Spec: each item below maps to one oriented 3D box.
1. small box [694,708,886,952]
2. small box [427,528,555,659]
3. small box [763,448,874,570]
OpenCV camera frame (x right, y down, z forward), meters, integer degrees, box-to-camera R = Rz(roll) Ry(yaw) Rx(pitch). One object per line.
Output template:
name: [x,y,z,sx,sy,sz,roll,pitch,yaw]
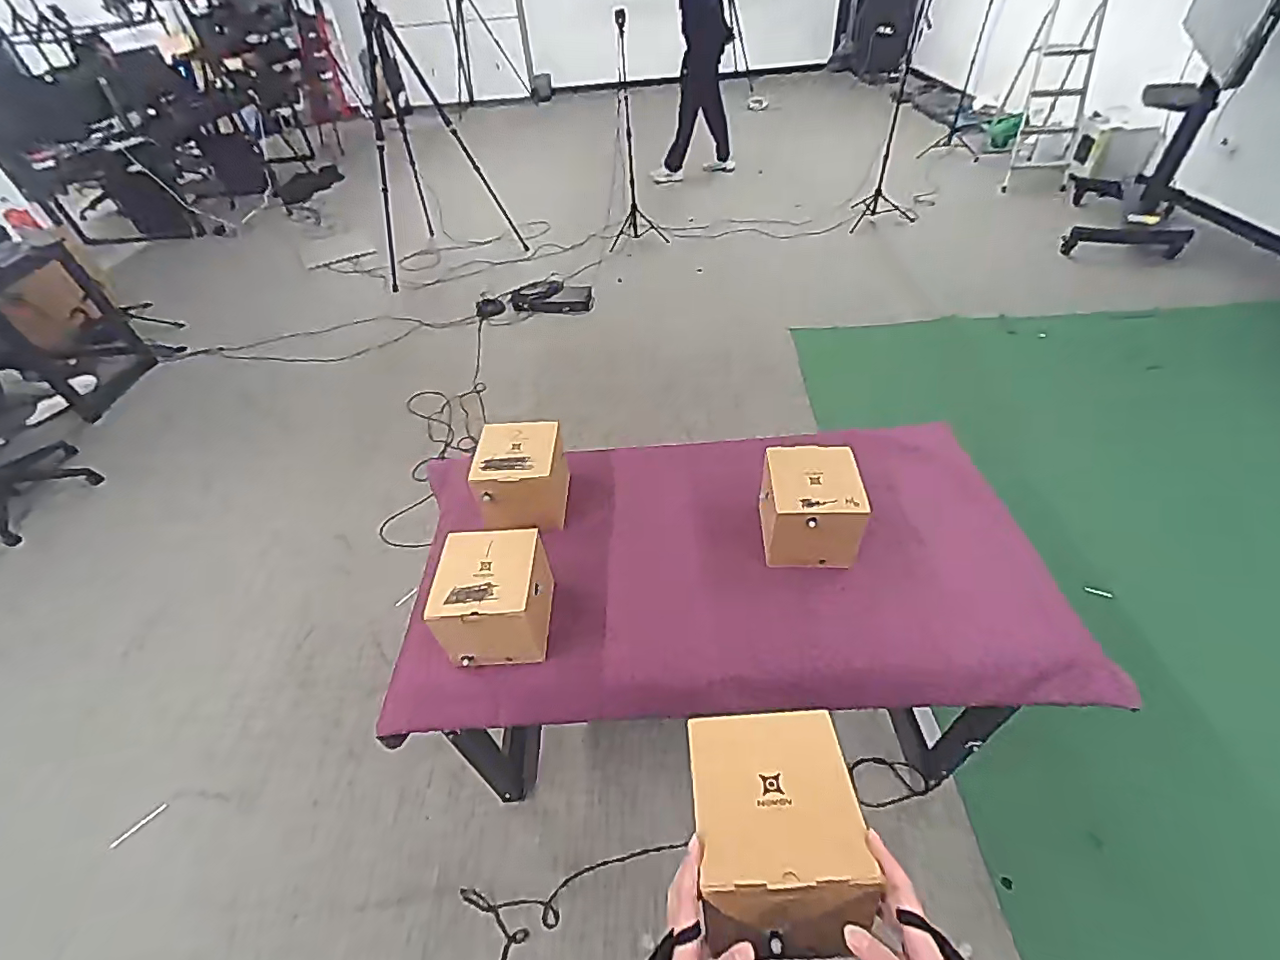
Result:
small box: [0.149,0.383,0.602,0.168,0.176,0.179,-5,32,3]
small box: [-0.251,0.207,0.963,0.168,0.176,0.179,-3,44,2]
small box: [0.339,0.055,1.063,0.168,0.176,0.179,-1,45,6]
